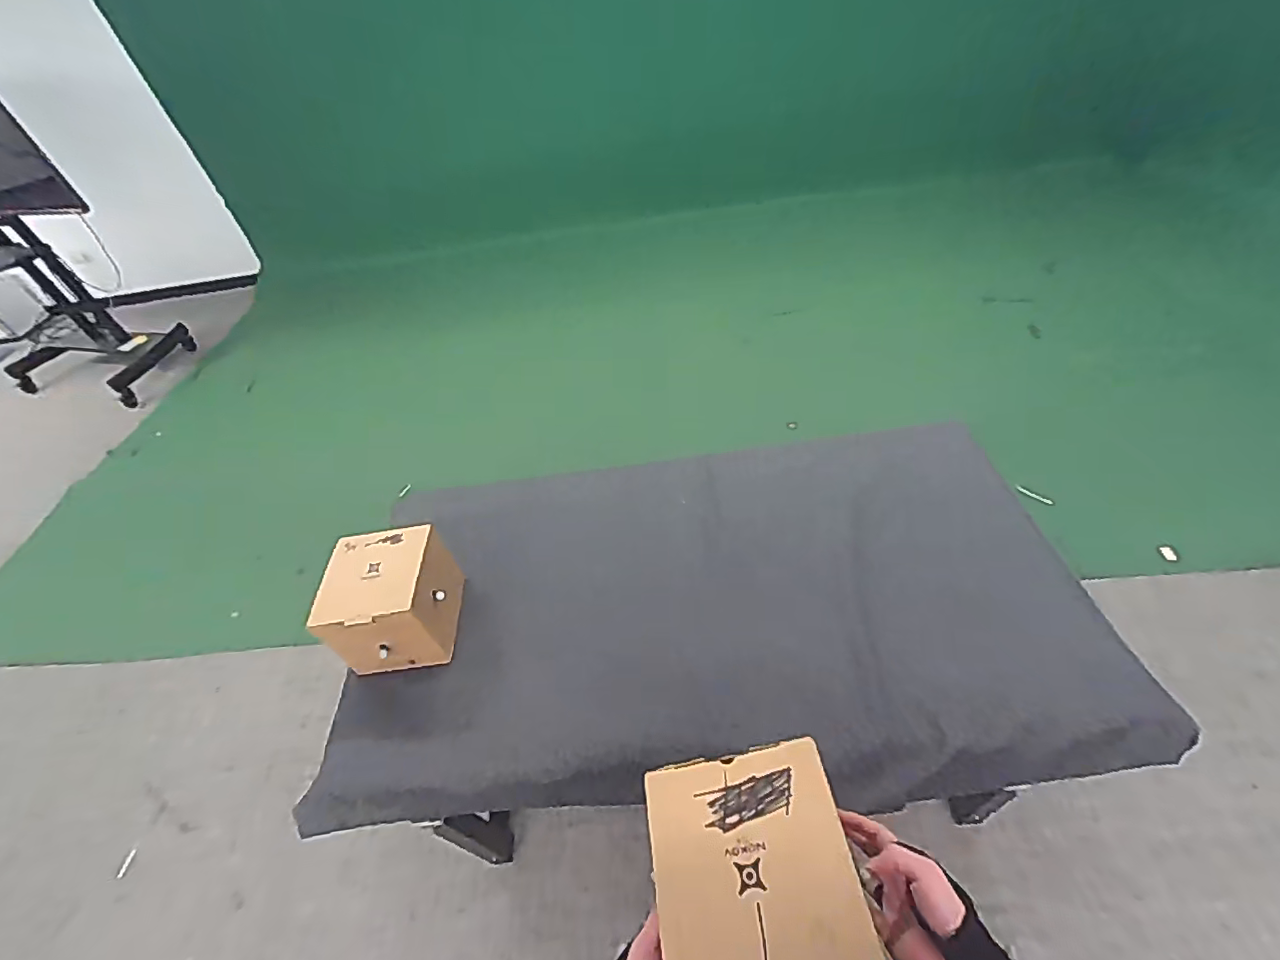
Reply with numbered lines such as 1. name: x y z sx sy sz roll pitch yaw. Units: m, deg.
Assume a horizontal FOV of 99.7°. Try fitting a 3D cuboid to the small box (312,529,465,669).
1. small box: -0.416 0.211 0.932 0.168 0.176 0.179 -8 46 1
